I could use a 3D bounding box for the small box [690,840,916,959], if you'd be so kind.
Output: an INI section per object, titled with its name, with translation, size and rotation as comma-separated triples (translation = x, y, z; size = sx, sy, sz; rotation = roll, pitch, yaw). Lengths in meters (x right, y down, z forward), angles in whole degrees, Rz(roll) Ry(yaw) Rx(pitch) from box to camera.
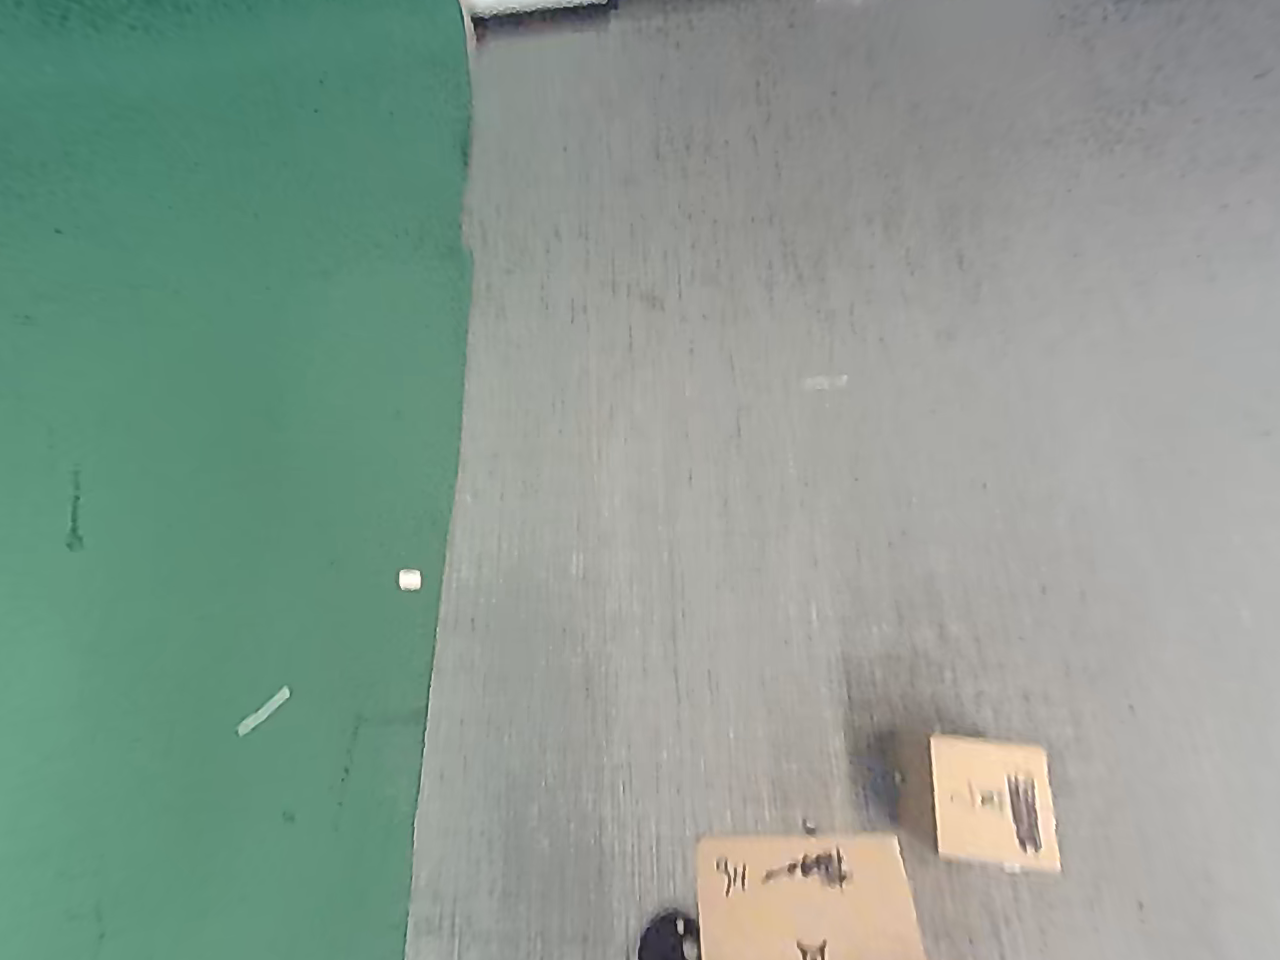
[small box]
translation = 0.131, 0.416, 0.461
size = 0.168, 0.176, 0.179
rotation = -3, 57, 5
